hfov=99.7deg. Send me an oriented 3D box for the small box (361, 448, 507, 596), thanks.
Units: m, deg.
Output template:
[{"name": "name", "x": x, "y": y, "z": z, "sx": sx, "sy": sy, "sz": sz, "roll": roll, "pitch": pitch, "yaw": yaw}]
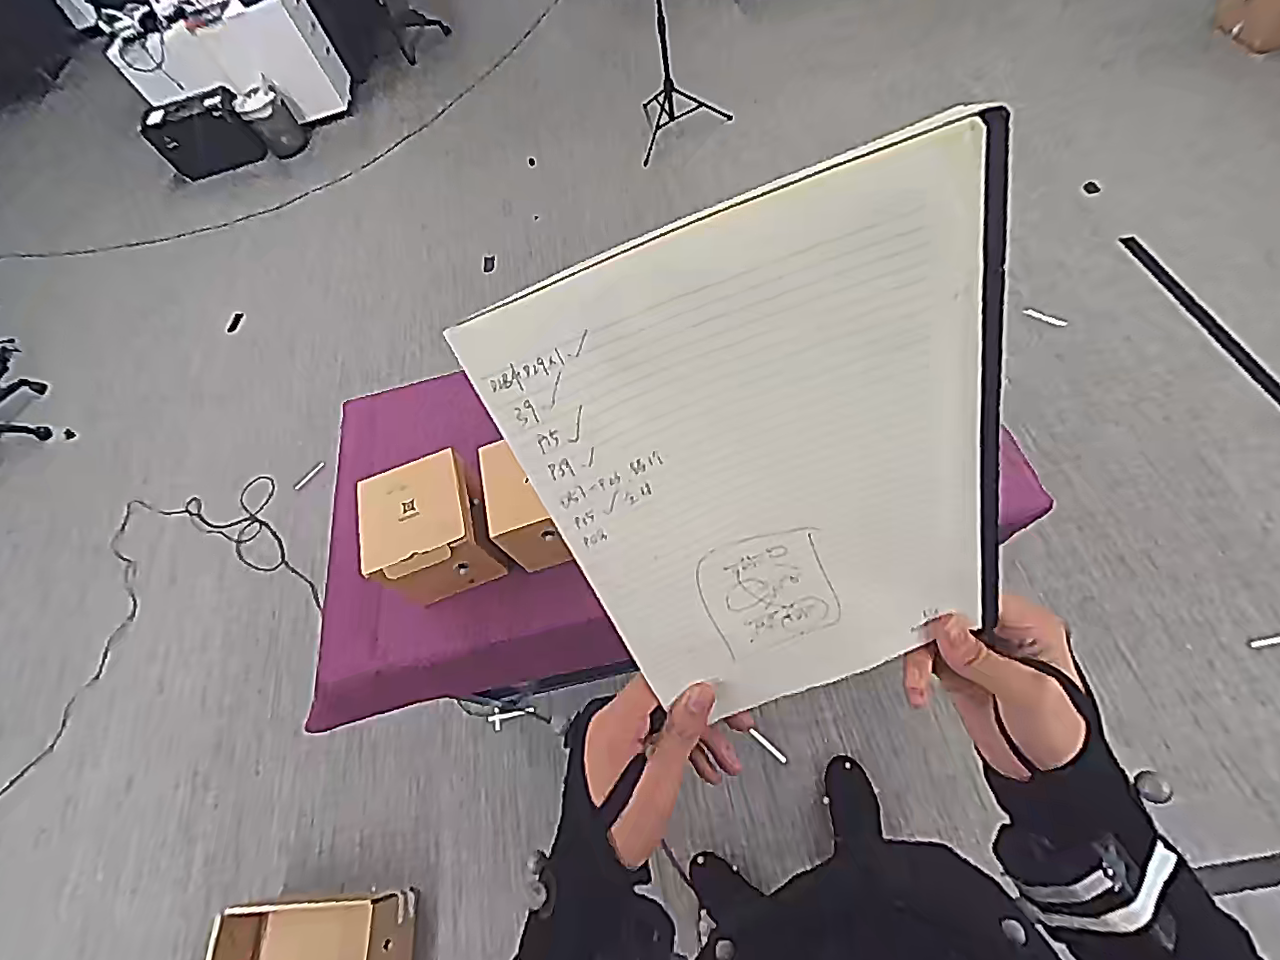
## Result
[{"name": "small box", "x": -0.340, "y": 0.081, "z": 0.911, "sx": 0.168, "sy": 0.176, "sz": 0.179, "roll": -21, "pitch": 60, "yaw": 0}]
